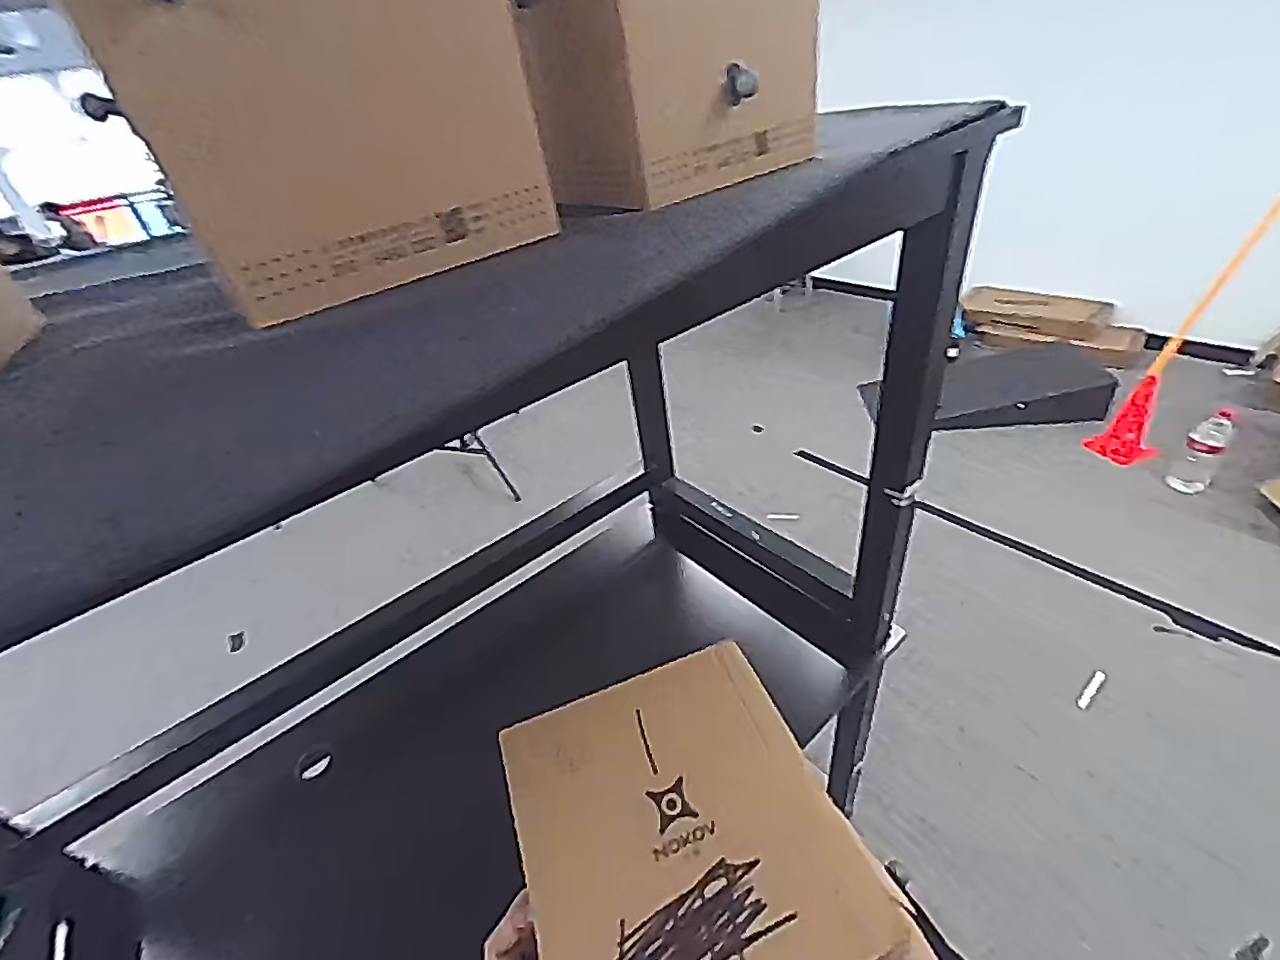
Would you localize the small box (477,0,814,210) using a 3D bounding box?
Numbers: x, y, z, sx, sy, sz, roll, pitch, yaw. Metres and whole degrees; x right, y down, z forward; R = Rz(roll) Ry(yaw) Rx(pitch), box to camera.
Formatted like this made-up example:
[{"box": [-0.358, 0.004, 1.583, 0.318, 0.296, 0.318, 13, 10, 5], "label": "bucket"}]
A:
[{"box": [0.001, -0.299, 0.380, 0.168, 0.176, 0.179, -31, 41, -25], "label": "small box"}]
